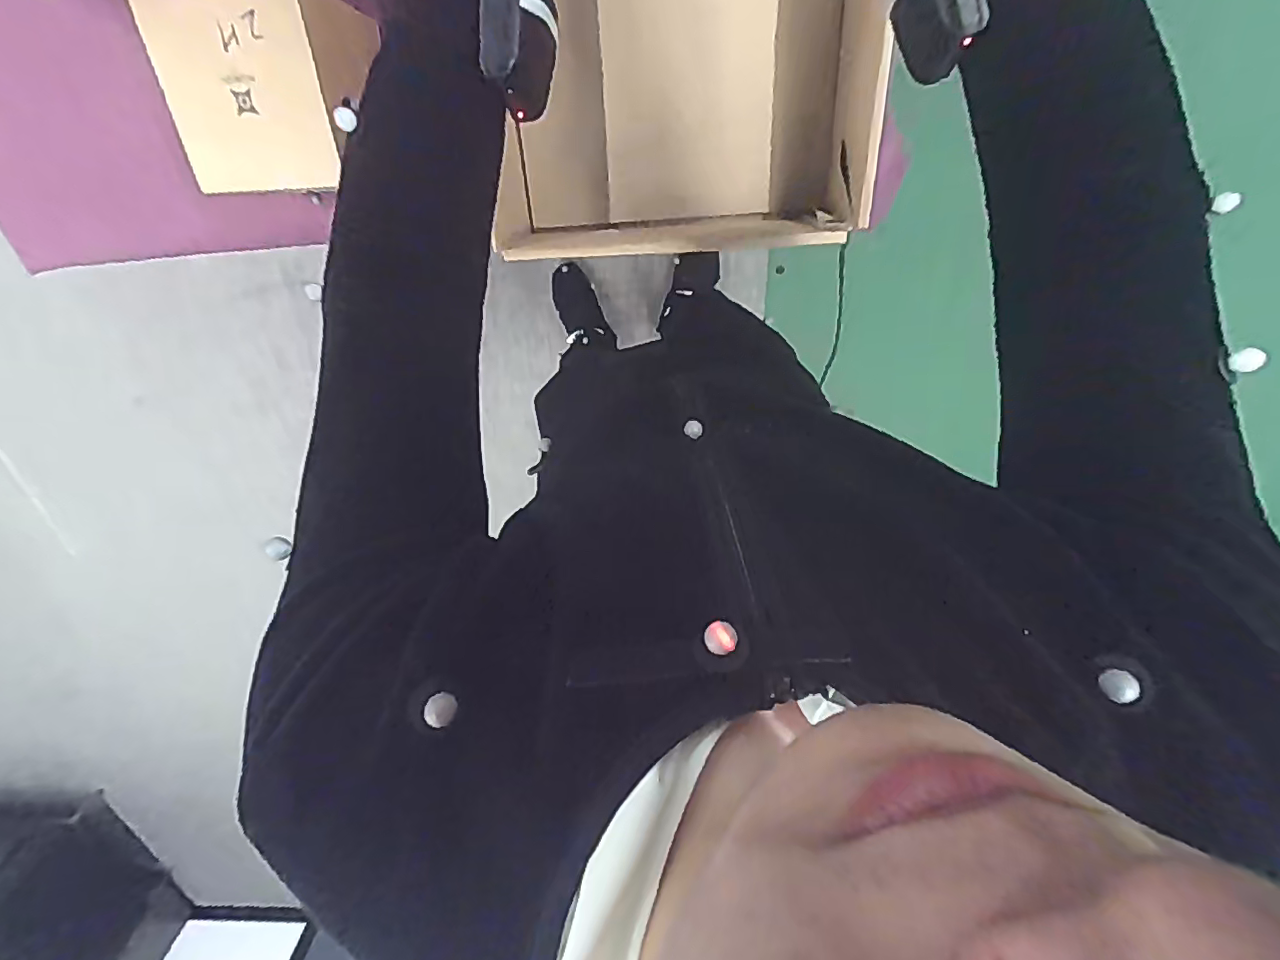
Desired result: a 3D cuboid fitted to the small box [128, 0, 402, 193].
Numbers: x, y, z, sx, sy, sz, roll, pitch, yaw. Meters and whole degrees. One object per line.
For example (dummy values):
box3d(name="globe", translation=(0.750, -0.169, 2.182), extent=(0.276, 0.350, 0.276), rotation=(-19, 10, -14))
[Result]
box3d(name="small box", translation=(-0.395, -0.428, 0.609), extent=(0.168, 0.176, 0.179), rotation=(-1, 119, 2))
